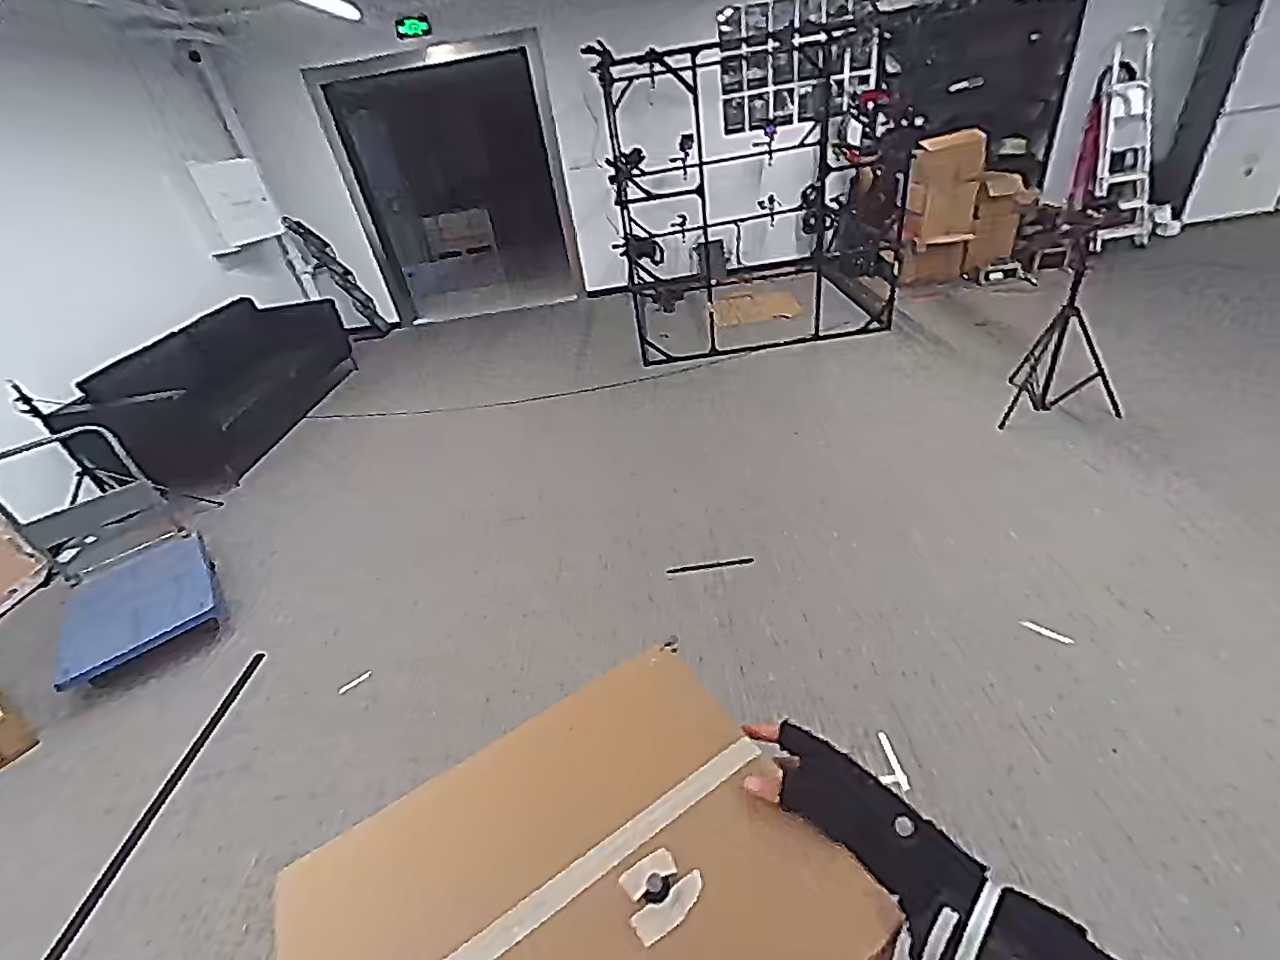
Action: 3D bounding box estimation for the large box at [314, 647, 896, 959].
[{"bbox_3d":[-0.028,0.454,0.521,0.408,0.320,0.320,-25,36,-21],"label":"large box"}]
